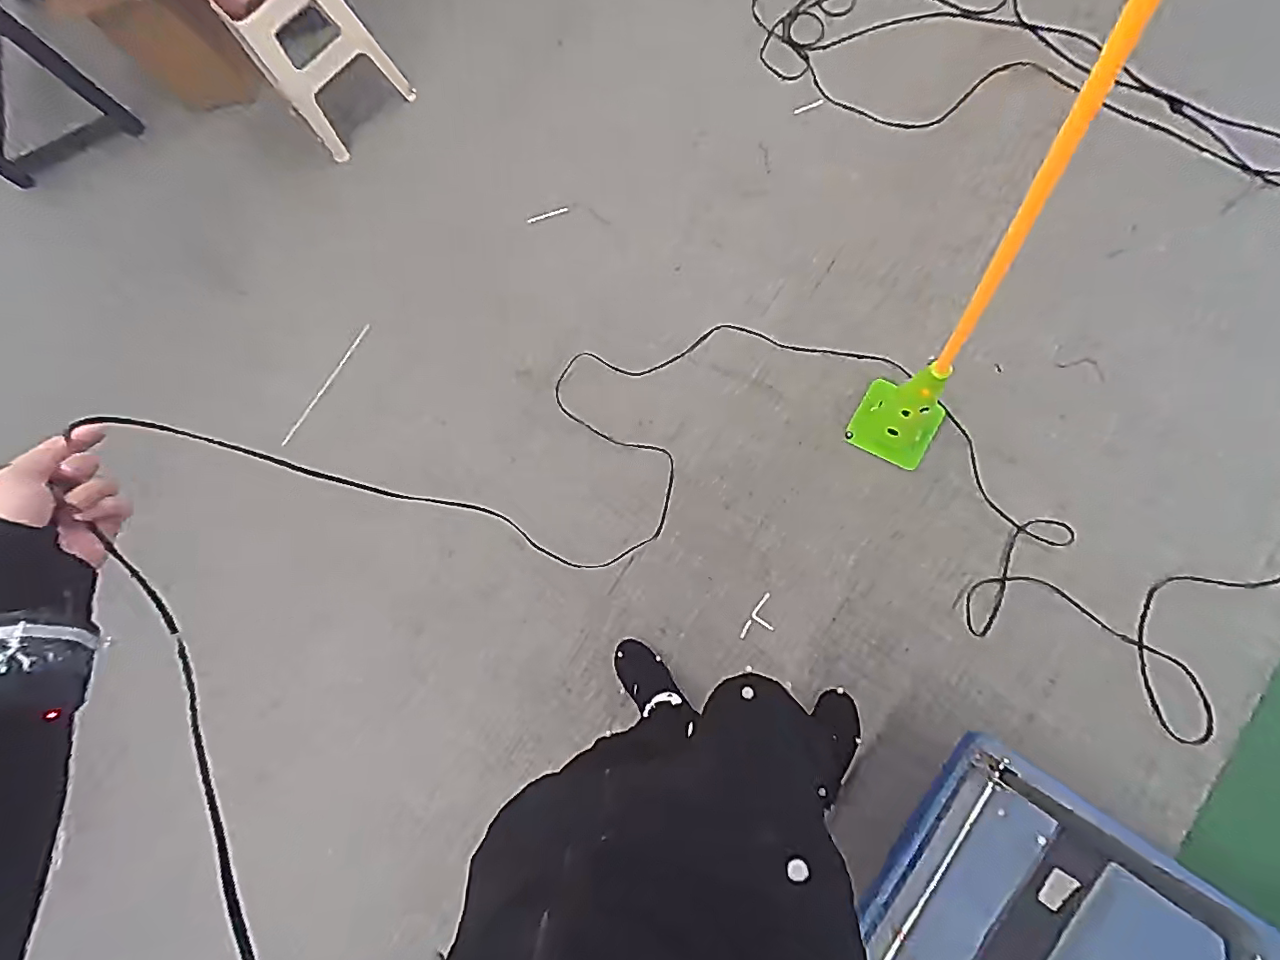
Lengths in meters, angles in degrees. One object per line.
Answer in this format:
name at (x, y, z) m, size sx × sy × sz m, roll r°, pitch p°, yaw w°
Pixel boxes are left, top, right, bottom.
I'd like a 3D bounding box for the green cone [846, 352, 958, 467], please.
green cone at (0.645, -0.194, 1.252) m, size 0.200 × 0.368 × 0.202 m, roll 28°, pitch 83°, yaw 14°
